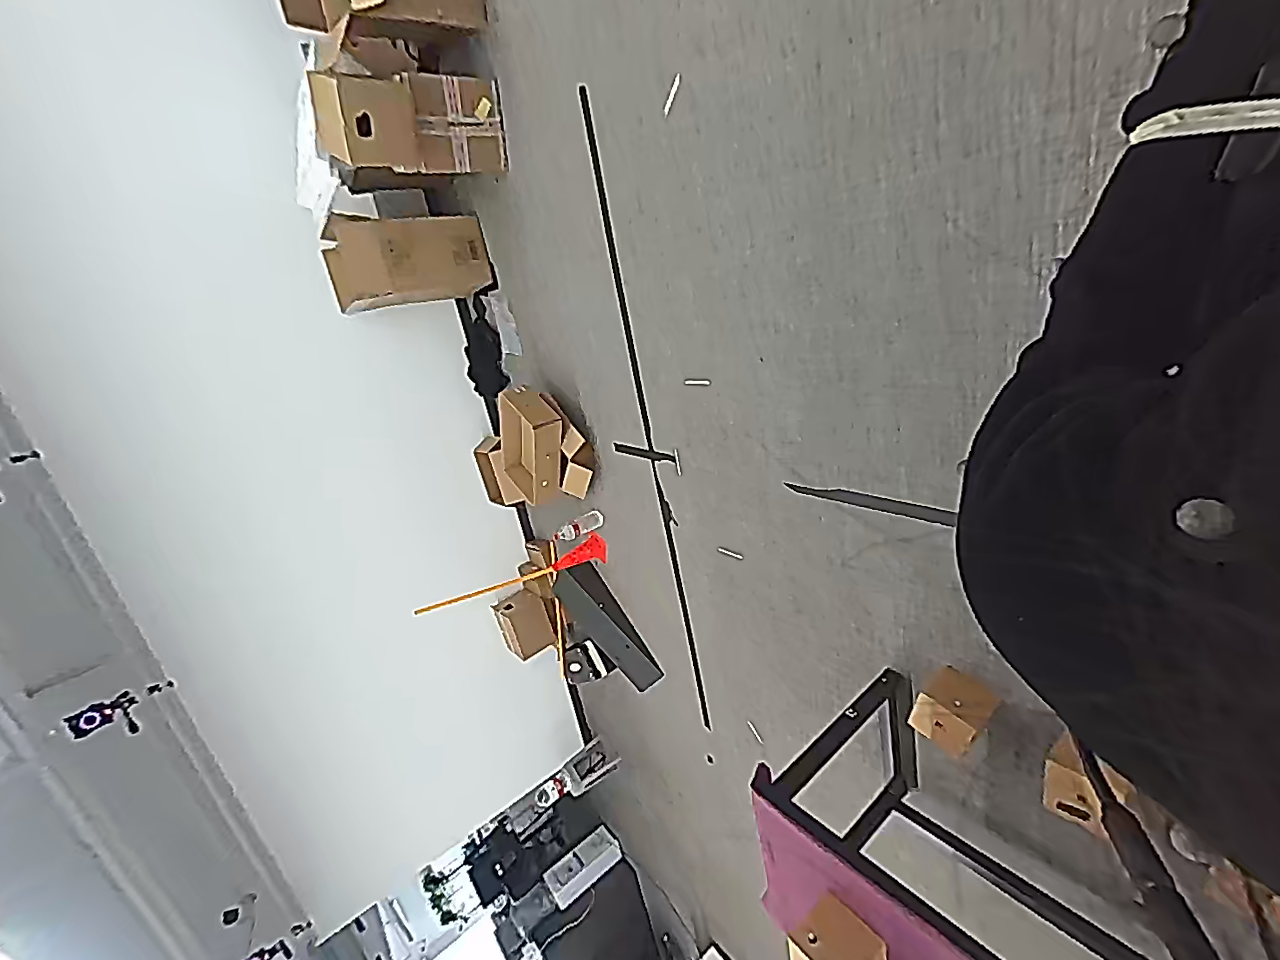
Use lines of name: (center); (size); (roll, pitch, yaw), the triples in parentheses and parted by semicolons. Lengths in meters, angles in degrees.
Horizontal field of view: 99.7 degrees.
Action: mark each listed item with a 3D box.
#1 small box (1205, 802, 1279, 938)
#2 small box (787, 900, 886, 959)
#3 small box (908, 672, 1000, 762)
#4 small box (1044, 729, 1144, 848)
small box: (1.405, 0.873, 1.200); (0.168, 0.176, 0.179); (16, 124, 52)
small box: (0.504, 1.234, 1.386); (0.179, 0.176, 0.168); (17, 124, 51)
small box: (1.000, 0.744, 1.723); (0.179, 0.176, 0.168); (33, 135, 40)
small box: (1.214, 0.815, 1.446); (0.168, 0.176, 0.179); (14, 120, 52)
